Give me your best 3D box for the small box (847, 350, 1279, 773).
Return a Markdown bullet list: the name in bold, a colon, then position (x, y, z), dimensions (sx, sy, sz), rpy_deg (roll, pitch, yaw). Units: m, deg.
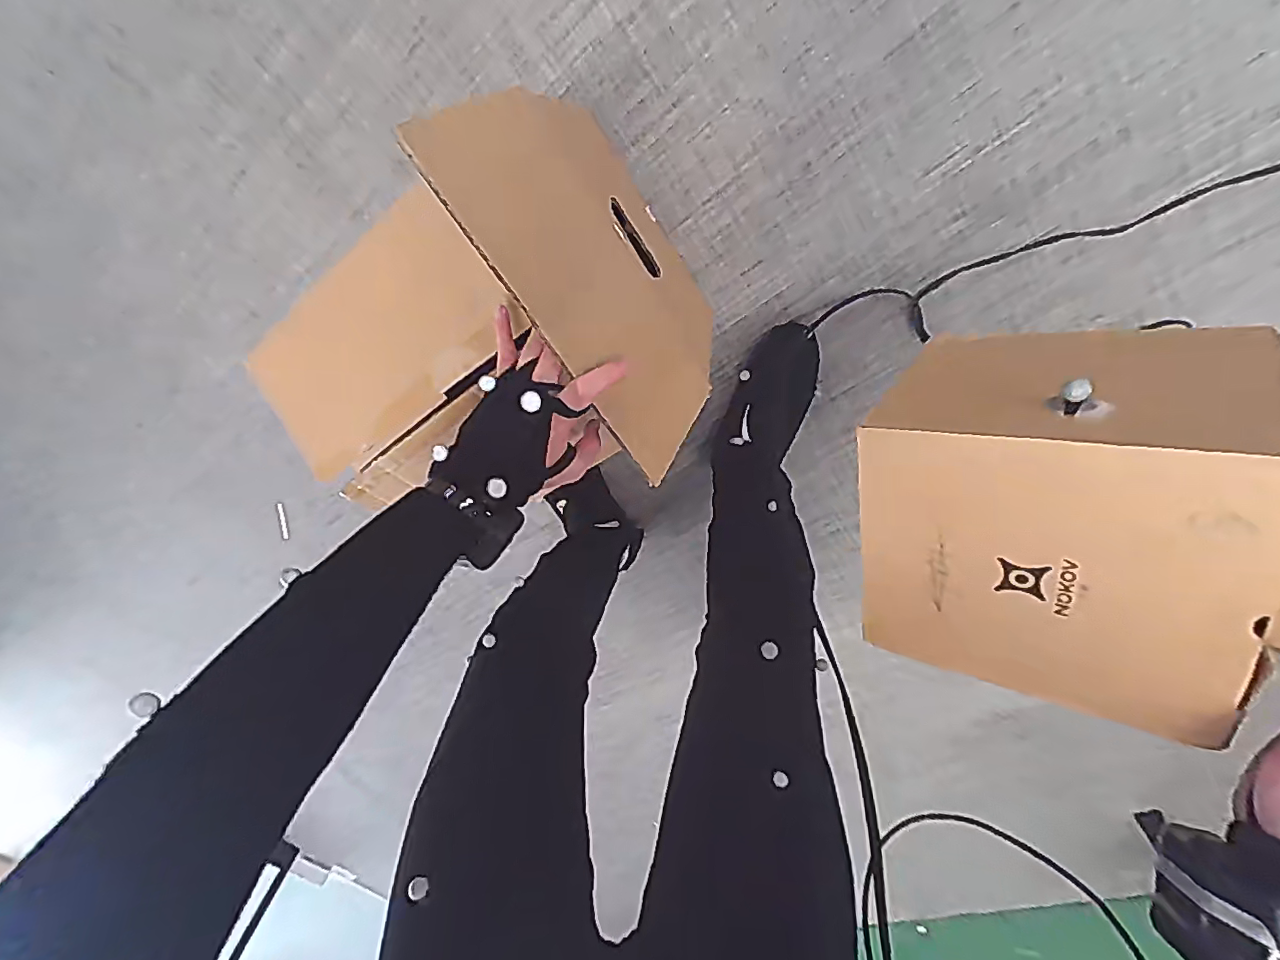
- **small box**: position (0.244, 0.023, 0.331), dimensions (0.179, 0.176, 0.168), rpy_deg (13, 124, 39)
